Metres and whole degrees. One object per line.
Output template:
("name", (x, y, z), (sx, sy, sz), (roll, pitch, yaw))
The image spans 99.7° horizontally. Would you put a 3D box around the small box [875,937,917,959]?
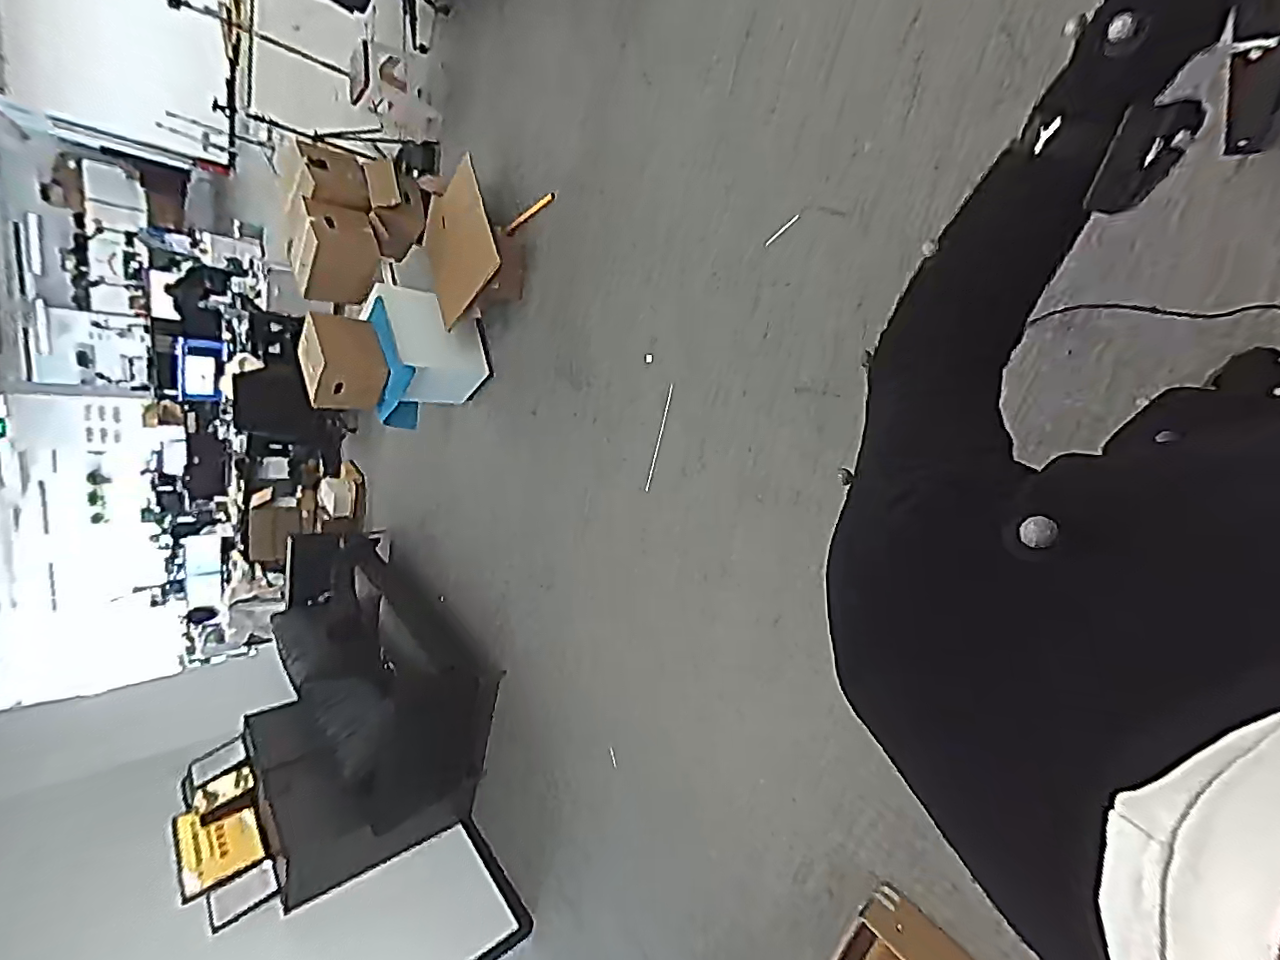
("small box", (0.745, 1.493, 1.563), (0.168, 0.176, 0.179), (32, 115, 39))
